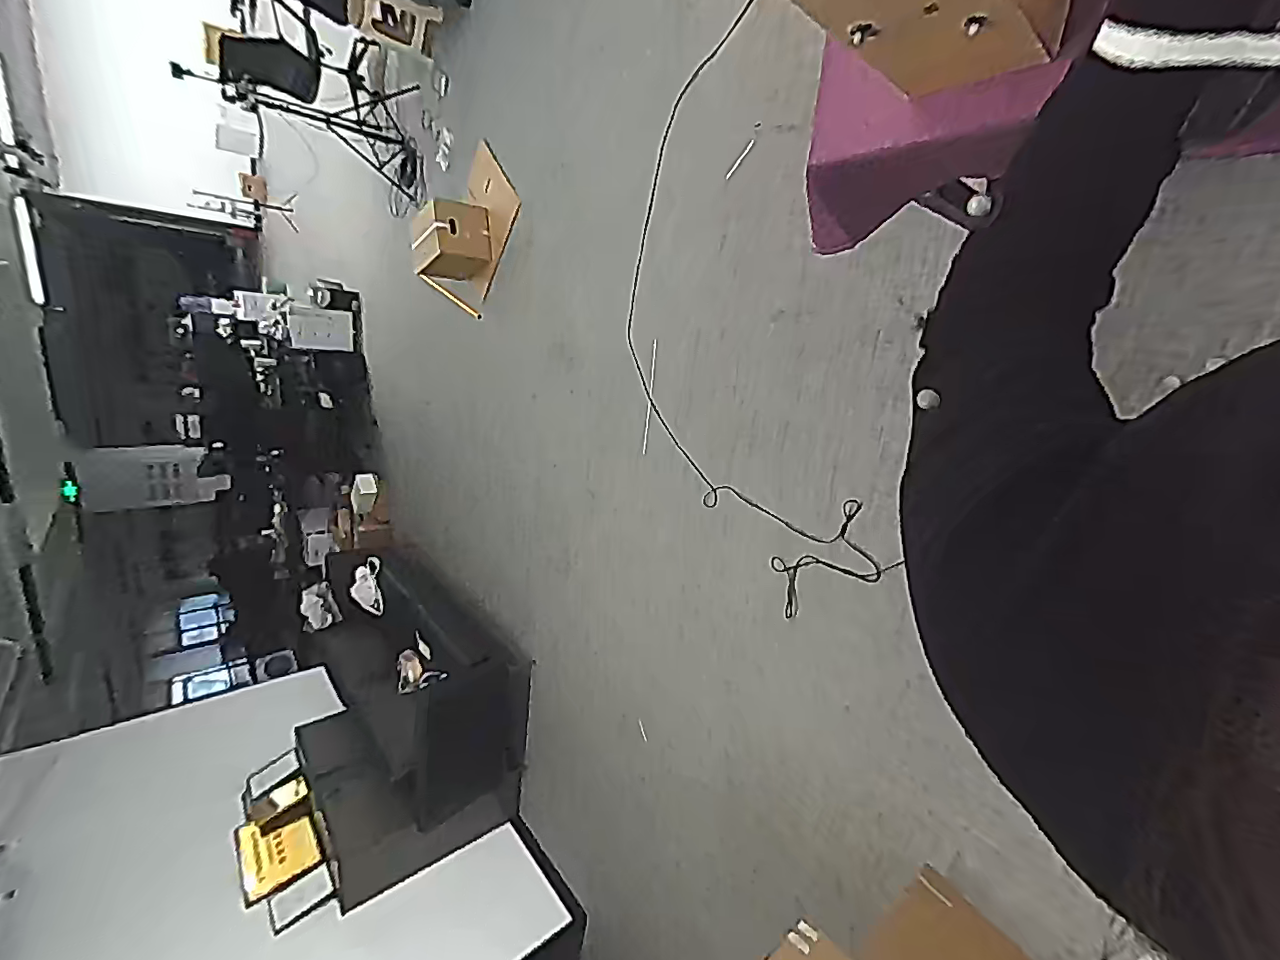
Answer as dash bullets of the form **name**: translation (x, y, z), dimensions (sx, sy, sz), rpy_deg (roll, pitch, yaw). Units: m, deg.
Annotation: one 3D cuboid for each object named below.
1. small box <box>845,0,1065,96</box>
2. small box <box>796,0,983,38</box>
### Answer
- **small box**: translation (0.369, -0.577, 0.619), dimensions (0.179, 0.176, 0.168), rpy_deg (19, 109, 45)
- **small box**: translation (0.248, -0.564, 0.510), dimensions (0.168, 0.176, 0.179), rpy_deg (19, 108, 45)
